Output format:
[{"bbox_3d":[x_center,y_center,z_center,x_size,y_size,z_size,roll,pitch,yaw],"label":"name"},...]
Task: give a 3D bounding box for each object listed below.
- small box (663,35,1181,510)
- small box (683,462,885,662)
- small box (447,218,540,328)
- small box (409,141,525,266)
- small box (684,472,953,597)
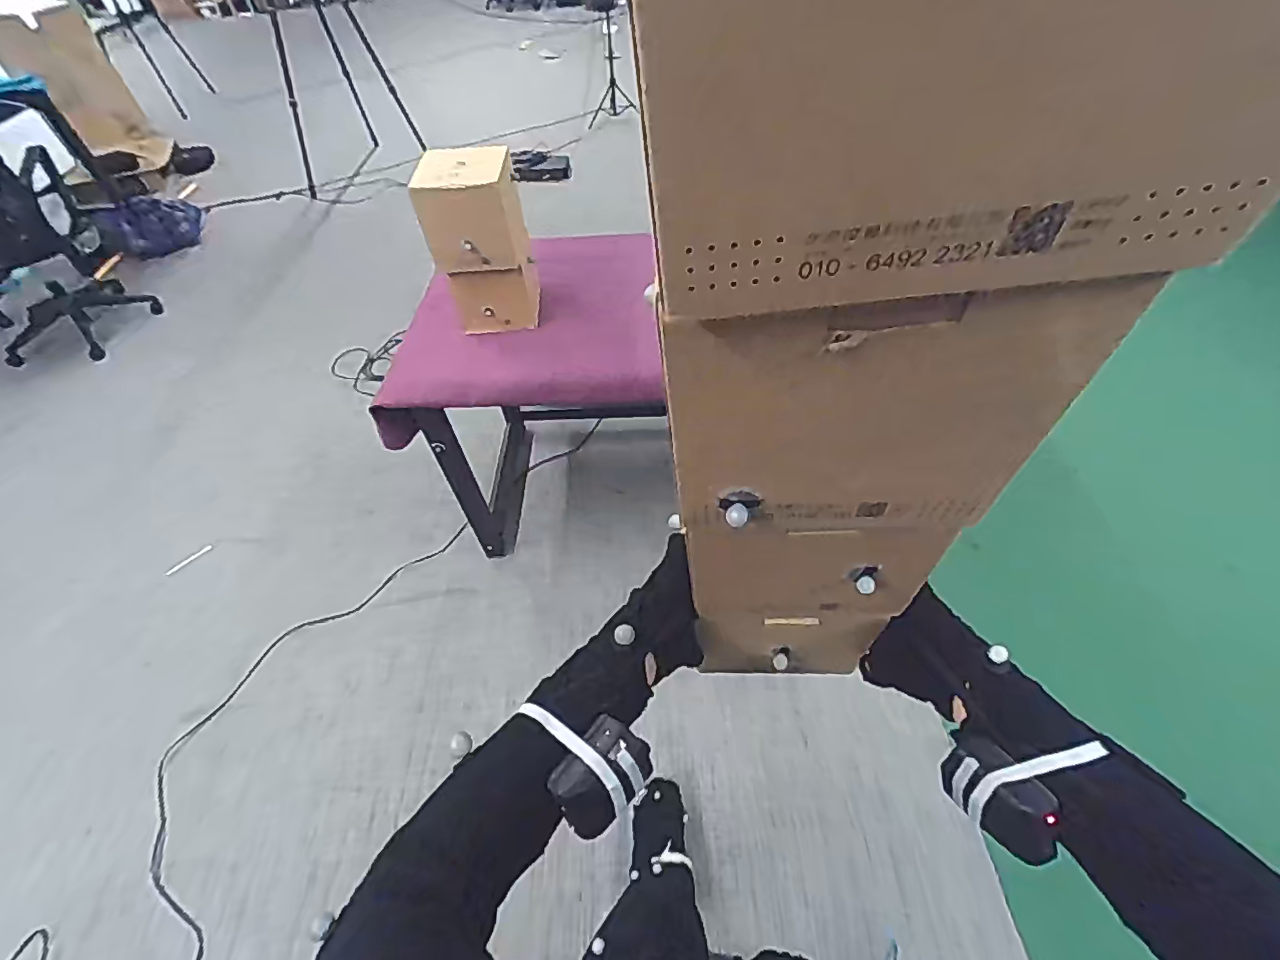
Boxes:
[{"bbox_3d":[0.103,-0.094,0.290,0.168,0.176,0.179,-1,56,7],"label":"small box"},{"bbox_3d":[0.135,0.085,0.565,0.168,0.176,0.179,-4,55,6],"label":"small box"},{"bbox_3d":[-0.324,-0.466,1.222,0.168,0.176,0.179,-4,52,-1],"label":"small box"},{"bbox_3d":[-0.331,-0.549,1.078,0.168,0.176,0.179,-3,52,1],"label":"small box"},{"bbox_3d":[0.122,-0.018,0.414,0.168,0.176,0.179,-2,56,7],"label":"small box"}]
